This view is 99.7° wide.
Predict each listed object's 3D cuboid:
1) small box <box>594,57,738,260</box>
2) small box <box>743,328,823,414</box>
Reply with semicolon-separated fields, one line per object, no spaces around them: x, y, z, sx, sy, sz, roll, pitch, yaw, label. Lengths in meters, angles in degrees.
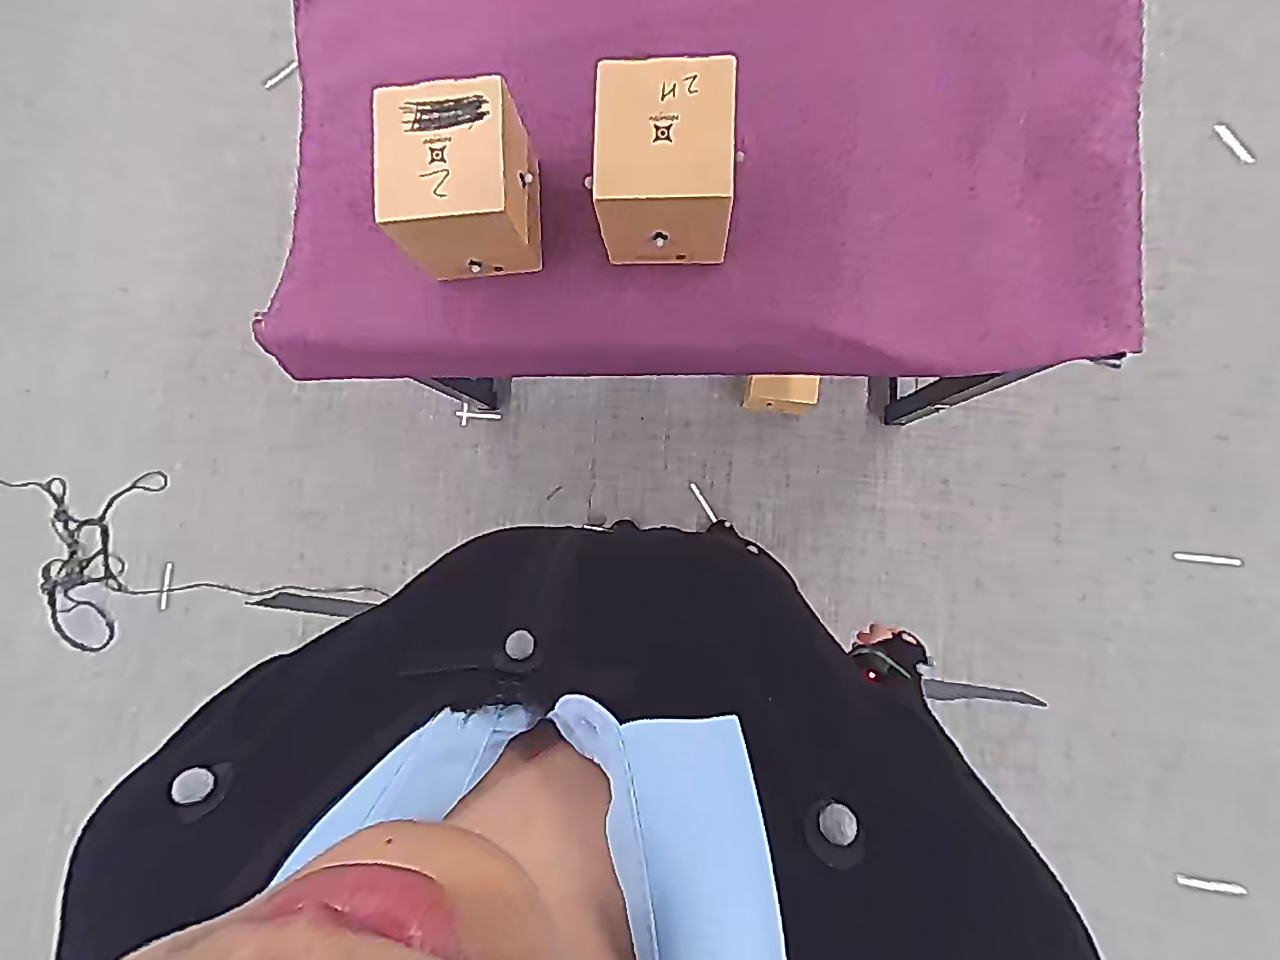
0.037;-0.409;0.716;0.168;0.176;0.179;2;86;4;small box
0.367;-0.278;1.417;0.168;0.176;0.179;8;87;6;small box
